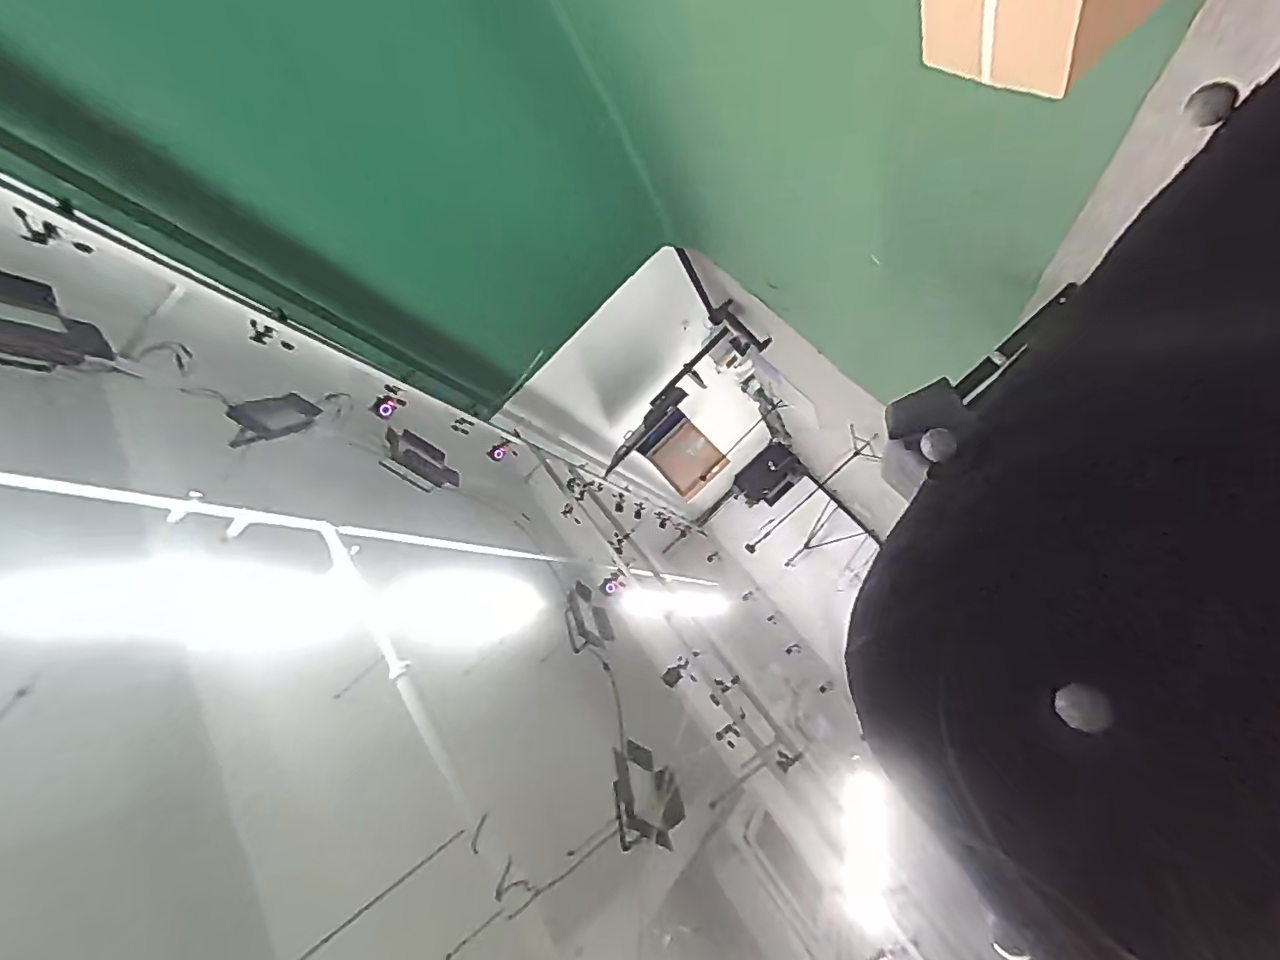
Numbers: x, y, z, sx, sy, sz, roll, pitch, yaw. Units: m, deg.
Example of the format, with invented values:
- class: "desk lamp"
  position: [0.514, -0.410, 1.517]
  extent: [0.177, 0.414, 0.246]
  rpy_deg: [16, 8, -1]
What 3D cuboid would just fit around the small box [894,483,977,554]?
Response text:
- class: "small box"
  position: [1.002, 0.133, 1.840]
  extent: [0.179, 0.176, 0.168]
  rpy_deg: [50, -171, 20]
